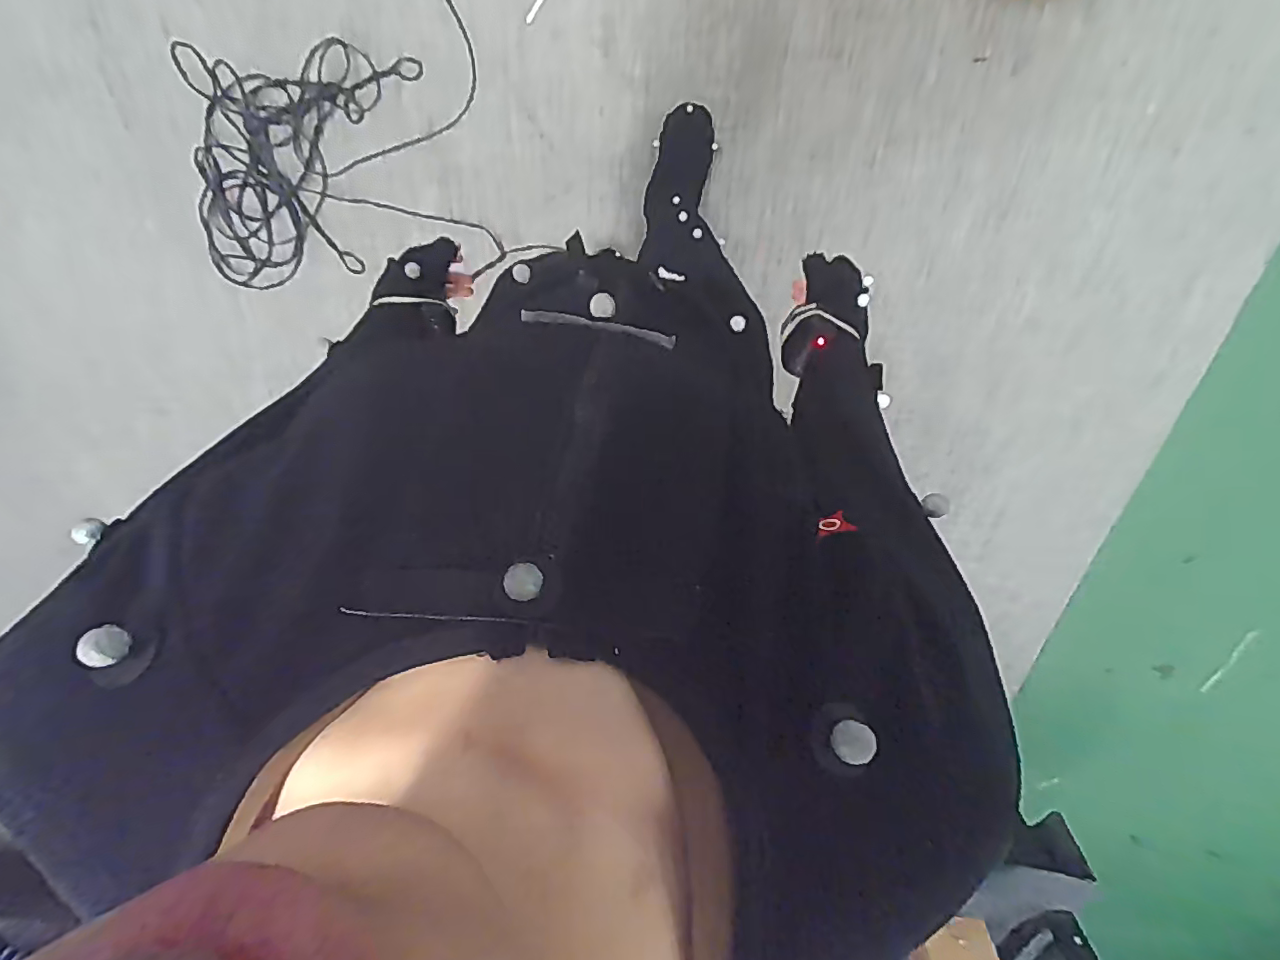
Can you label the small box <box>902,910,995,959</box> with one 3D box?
[{"bbox_3d":[0.783,1.220,1.358,0.168,0.176,0.179,0,120,1],"label":"small box"}]
